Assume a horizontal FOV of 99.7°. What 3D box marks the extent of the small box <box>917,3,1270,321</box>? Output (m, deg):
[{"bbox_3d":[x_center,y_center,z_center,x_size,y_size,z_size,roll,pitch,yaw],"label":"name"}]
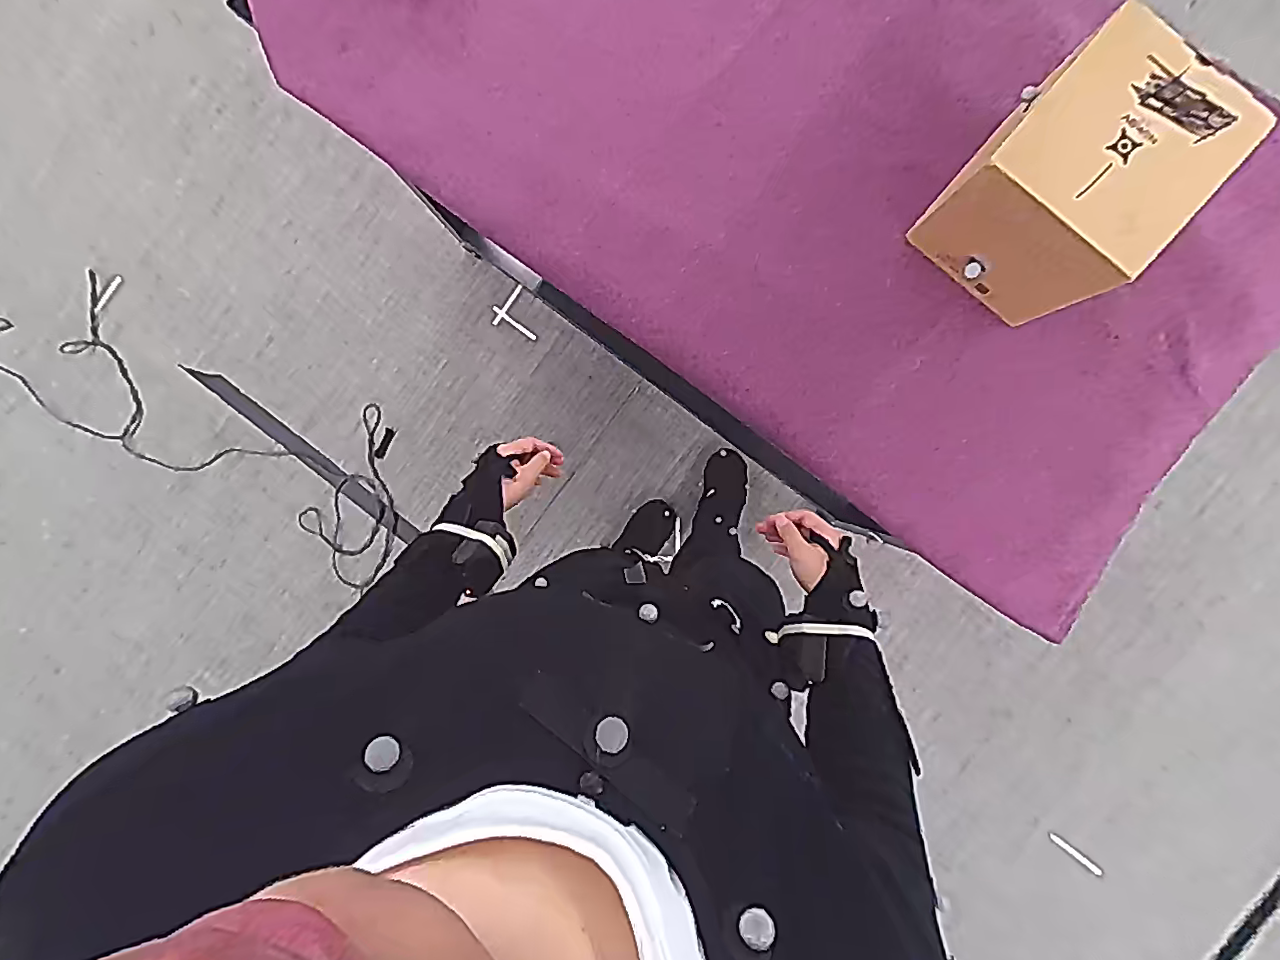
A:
[{"bbox_3d":[0.424,-0.293,0.543,0.168,0.176,0.179,41,93,1],"label":"small box"}]
